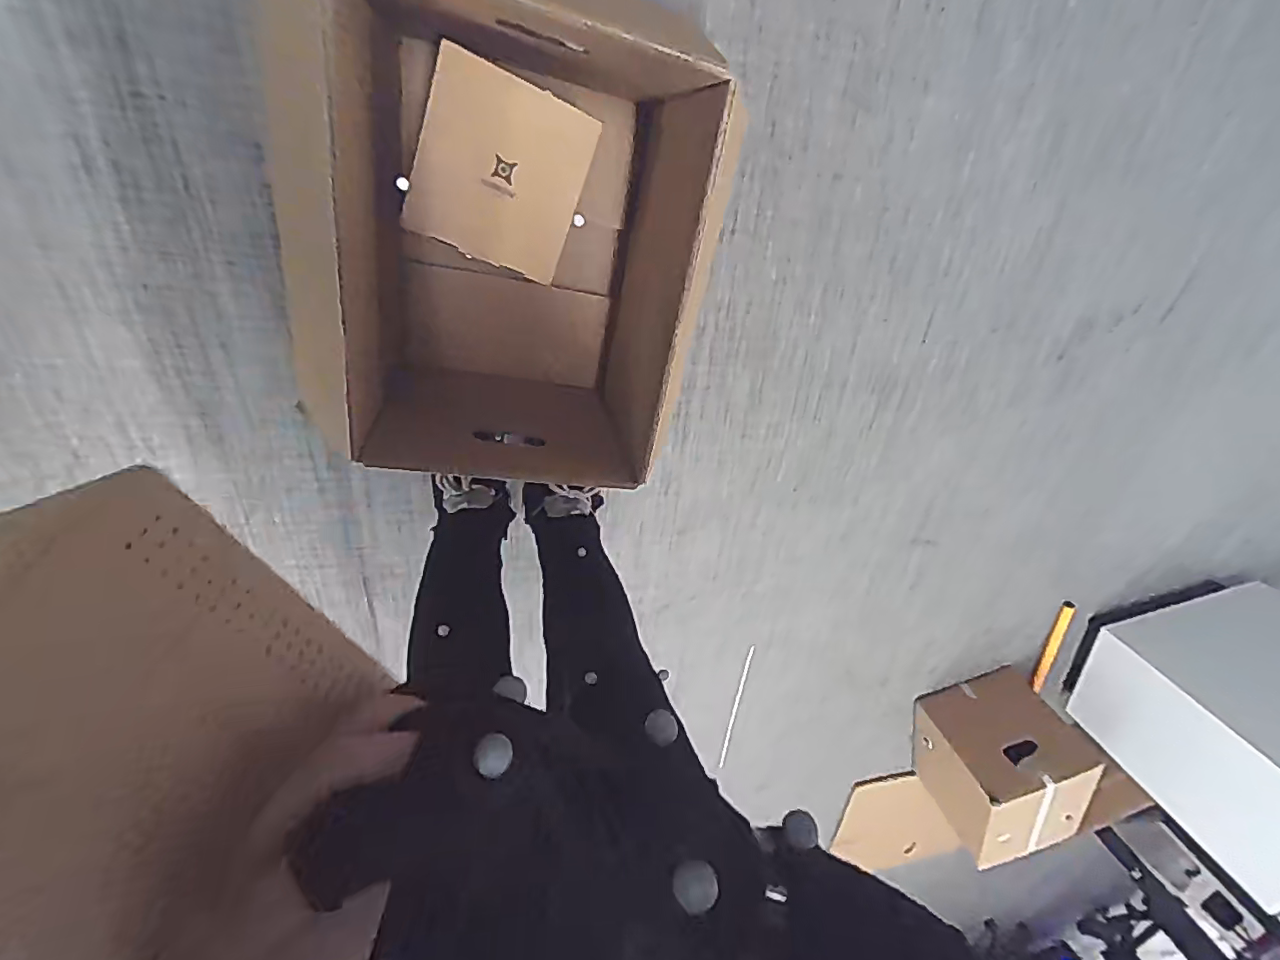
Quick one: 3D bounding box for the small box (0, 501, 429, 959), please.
[{"bbox_3d":[-0.205,0.125,0.175,0.168,0.176,0.179,-15,126,13],"label":"small box"}]
